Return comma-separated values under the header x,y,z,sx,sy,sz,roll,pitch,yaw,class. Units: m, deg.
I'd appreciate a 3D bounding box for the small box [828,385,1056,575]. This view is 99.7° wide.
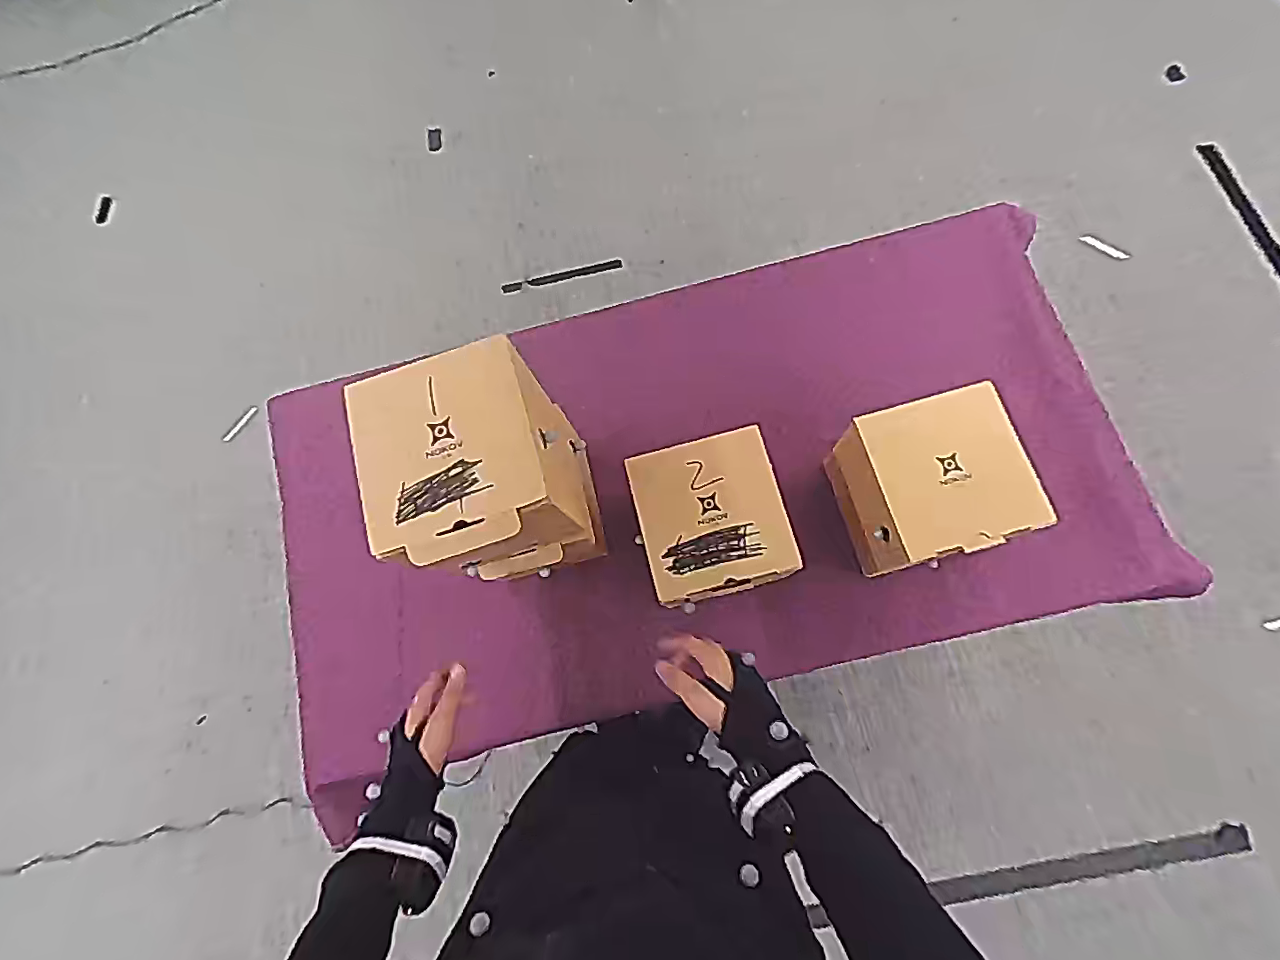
x,y,z,sx,sy,sz,roll,pitch,yaw,class
0.356,0.010,0.682,0.168,0.176,0.179,-16,74,2,small box

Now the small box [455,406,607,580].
x,y,z,sx,sy,sz,roll,pitch,yaw,class
-0.150,0.027,0.729,0.168,0.176,0.179,-14,74,3,small box

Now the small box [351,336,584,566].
x,y,z,sx,sy,sz,roll,pitch,yaw,class
-0.168,-0.015,0.571,0.168,0.176,0.179,-18,73,1,small box
